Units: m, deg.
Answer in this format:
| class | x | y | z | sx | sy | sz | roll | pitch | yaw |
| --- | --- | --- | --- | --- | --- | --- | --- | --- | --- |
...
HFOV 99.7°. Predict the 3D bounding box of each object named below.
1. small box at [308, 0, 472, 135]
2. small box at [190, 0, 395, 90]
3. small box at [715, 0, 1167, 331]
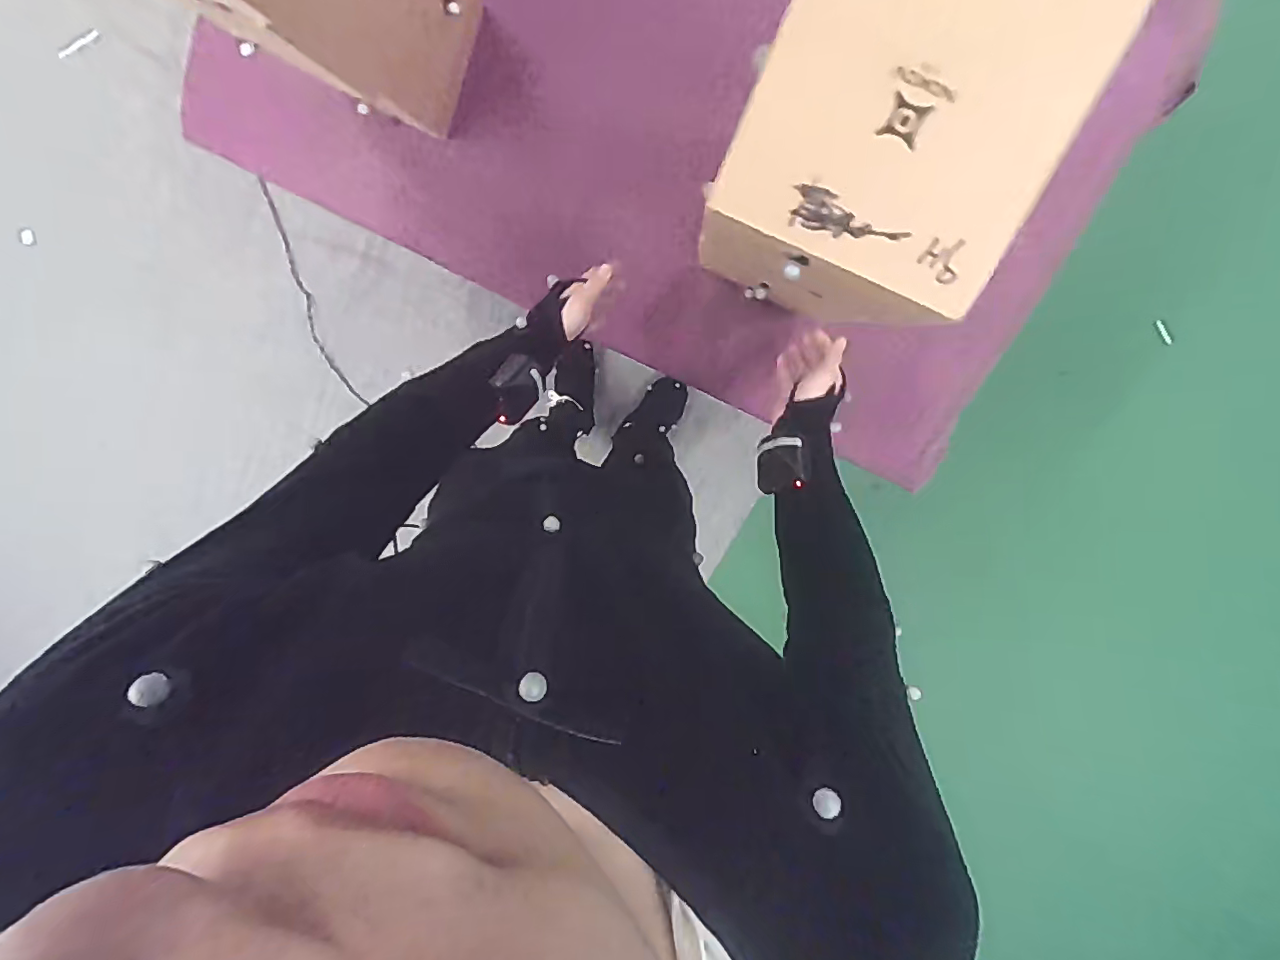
| class | x | y | z | sx | sy | sz | roll | pitch | yaw |
| --- | --- | --- | --- | --- | --- | --- | --- | --- | --- |
| small box | -0.321 | -0.558 | 0.643 | 0.168 | 0.176 | 0.179 | 26 | 107 | -3 |
| small box | -0.340 | -0.504 | 0.489 | 0.168 | 0.176 | 0.179 | 26 | 106 | -2 |
| small box | 0.157 | -0.215 | 0.360 | 0.168 | 0.176 | 0.179 | 25 | 106 | -2 |
